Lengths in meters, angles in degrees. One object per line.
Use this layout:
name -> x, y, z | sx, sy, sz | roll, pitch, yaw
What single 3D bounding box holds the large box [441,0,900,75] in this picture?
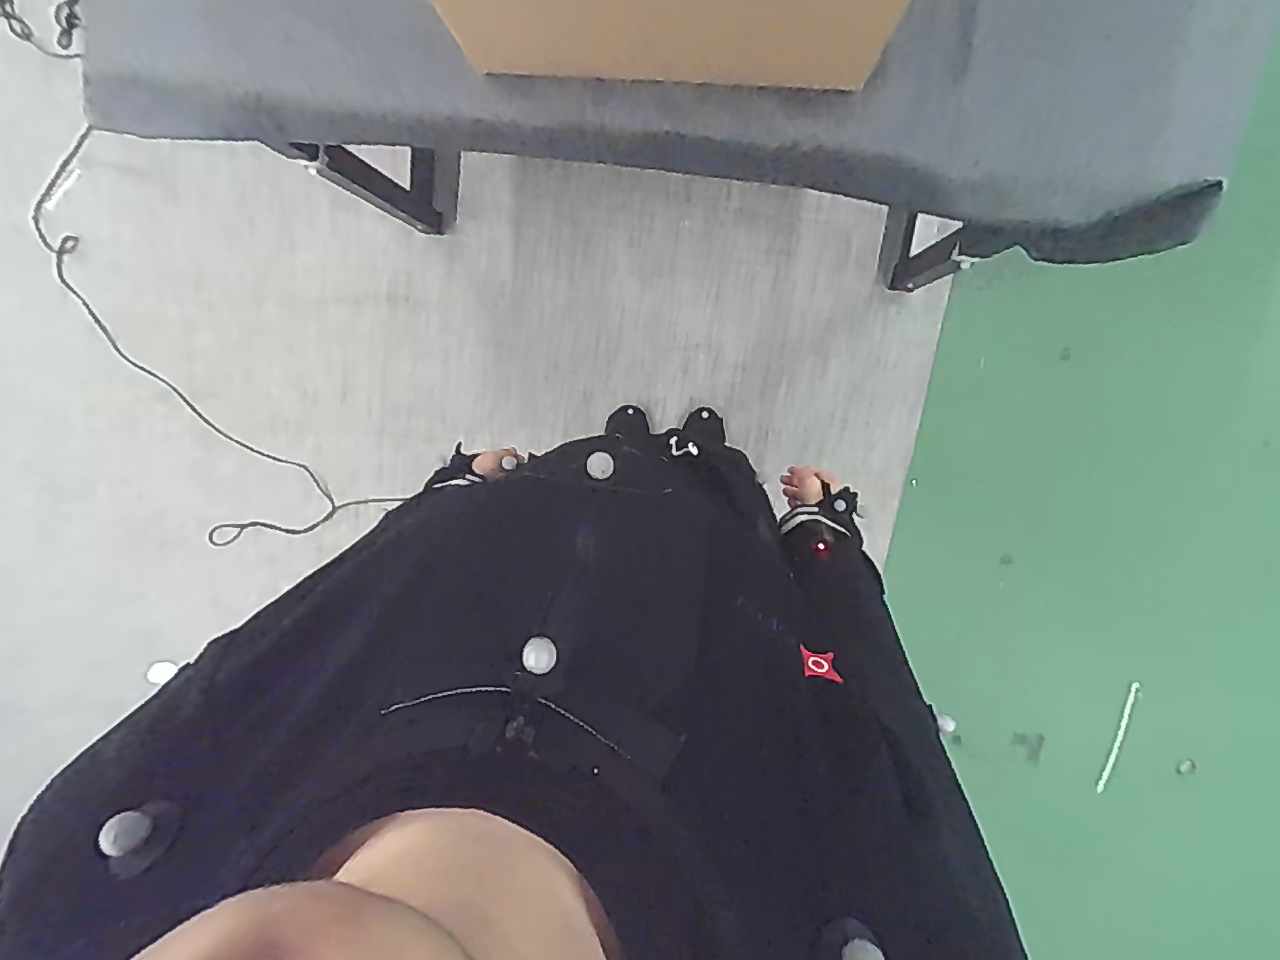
large box -> 0.024, -0.547, 0.389 | 0.408, 0.320, 0.320 | 5, 99, 3
